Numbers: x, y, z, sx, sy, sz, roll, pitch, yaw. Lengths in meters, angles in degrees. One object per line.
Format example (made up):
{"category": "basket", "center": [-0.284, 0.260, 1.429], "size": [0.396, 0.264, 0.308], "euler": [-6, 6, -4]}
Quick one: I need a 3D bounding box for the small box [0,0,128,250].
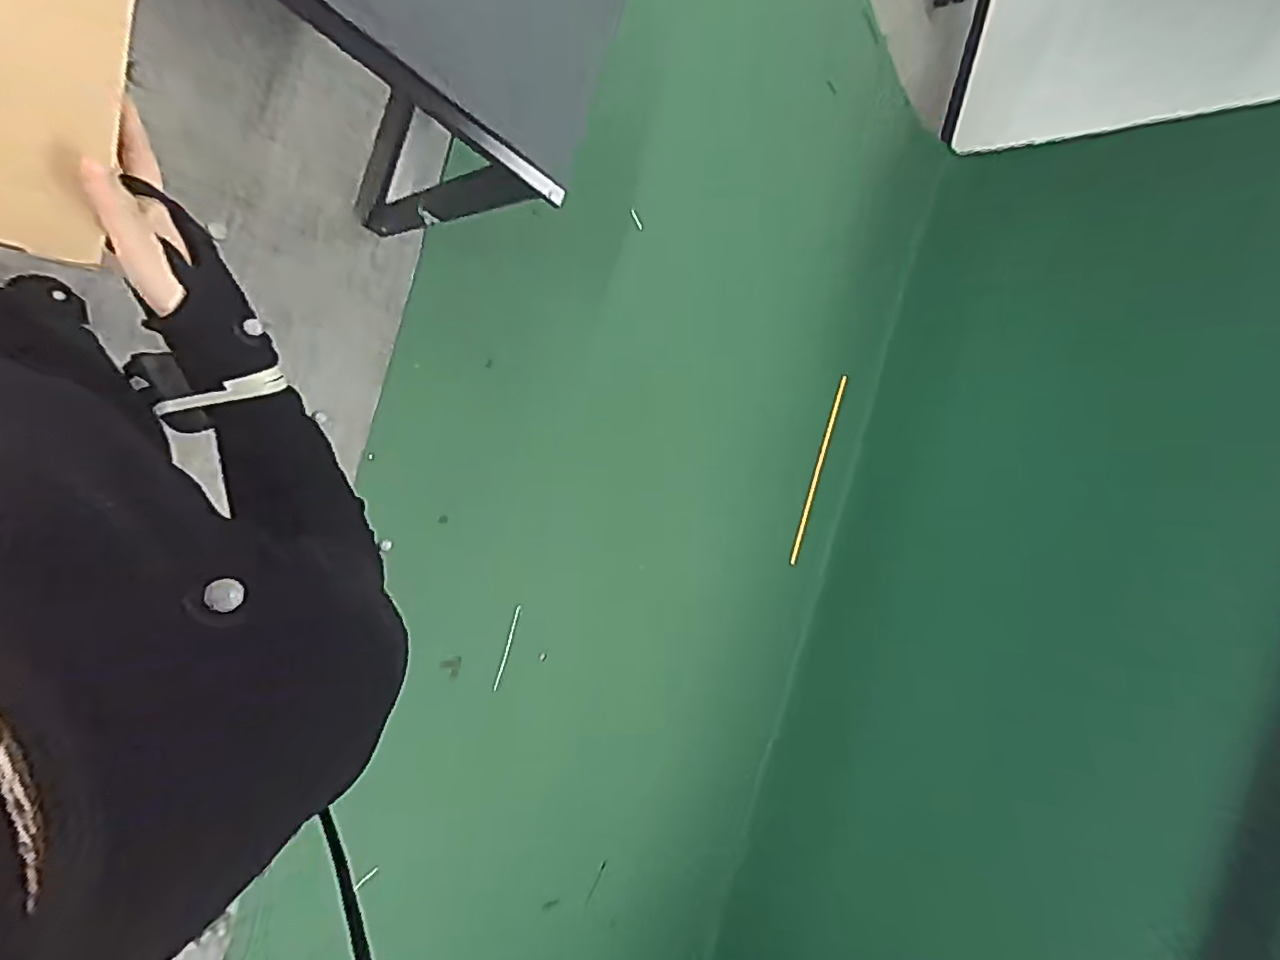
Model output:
{"category": "small box", "center": [-0.416, -0.248, 0.299], "size": [0.168, 0.176, 0.179], "euler": [6, 102, -51]}
